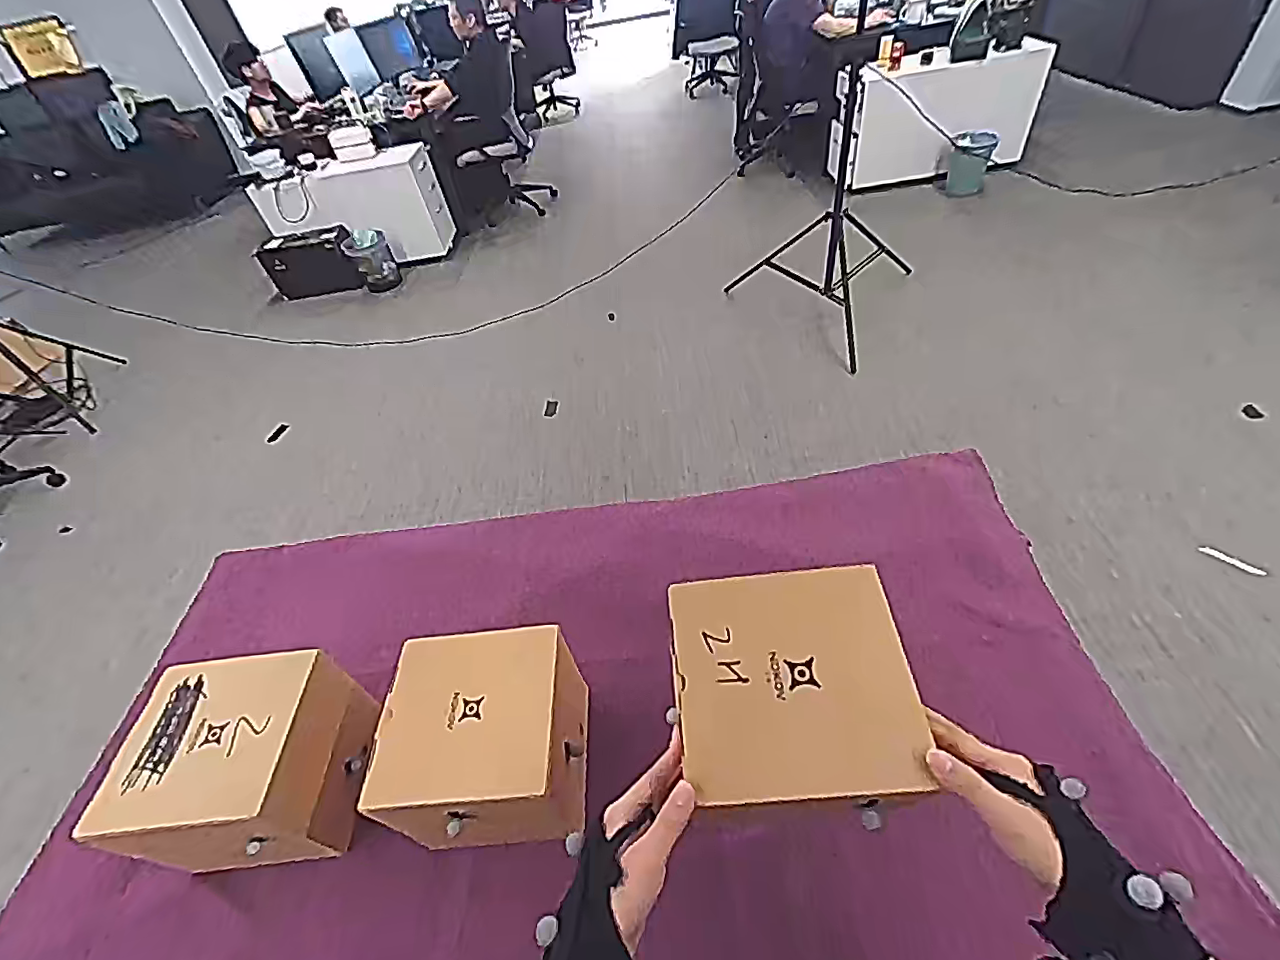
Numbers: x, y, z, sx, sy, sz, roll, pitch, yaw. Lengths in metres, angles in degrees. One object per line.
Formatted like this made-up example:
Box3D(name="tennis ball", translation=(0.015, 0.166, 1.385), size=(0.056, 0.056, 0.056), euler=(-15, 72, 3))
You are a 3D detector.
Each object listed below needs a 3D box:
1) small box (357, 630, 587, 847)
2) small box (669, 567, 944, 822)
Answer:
Box3D(name="small box", translation=(-0.158, 0.282, 0.585), size=(0.179, 0.176, 0.168), euler=(-7, 45, 5))
Box3D(name="small box", translation=(0.122, 0.192, 0.470), size=(0.179, 0.176, 0.168), euler=(-7, 53, 5))
